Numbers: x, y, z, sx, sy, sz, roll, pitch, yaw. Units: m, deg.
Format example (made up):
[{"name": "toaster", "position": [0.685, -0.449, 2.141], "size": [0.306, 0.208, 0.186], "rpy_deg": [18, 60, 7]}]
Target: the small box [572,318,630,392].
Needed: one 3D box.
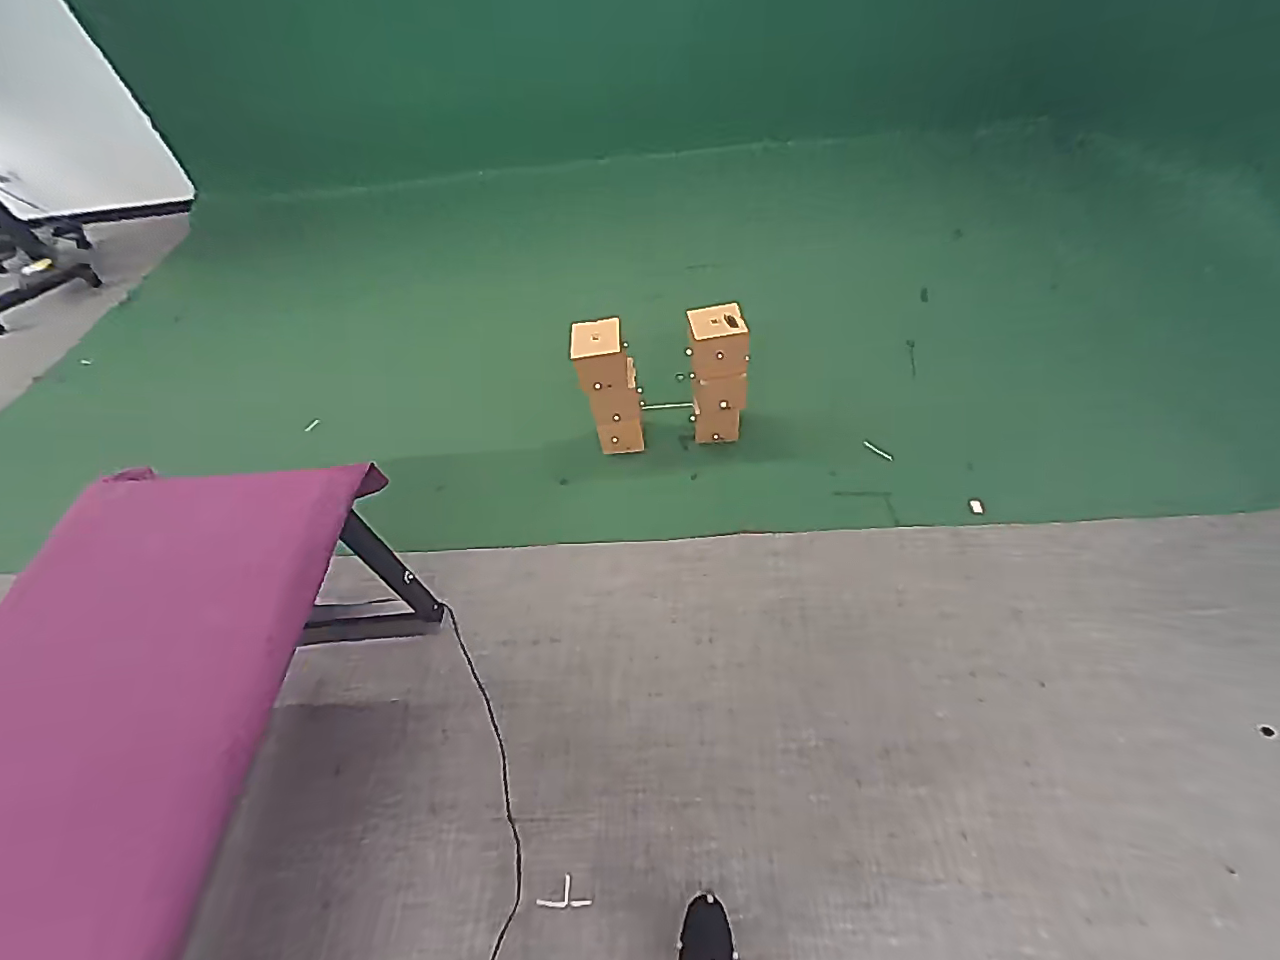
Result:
[{"name": "small box", "position": [-0.131, -0.430, 1.868], "size": [0.168, 0.176, 0.179], "rpy_deg": [-7, 52, 6]}]

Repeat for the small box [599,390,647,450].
[{"name": "small box", "position": [-0.064, -0.231, 2.120], "size": [0.168, 0.176, 0.179], "rpy_deg": [-6, 51, 5]}]

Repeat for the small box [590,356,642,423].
[{"name": "small box", "position": [-0.088, -0.331, 1.993], "size": [0.179, 0.176, 0.168], "rpy_deg": [-7, 51, 3]}]

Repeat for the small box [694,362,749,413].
[{"name": "small box", "position": [0.290, -0.371, 1.966], "size": [0.168, 0.176, 0.179], "rpy_deg": [-12, 52, 0]}]

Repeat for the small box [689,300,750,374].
[{"name": "small box", "position": [0.268, -0.485, 1.848], "size": [0.179, 0.176, 0.168], "rpy_deg": [-10, 52, 2]}]
